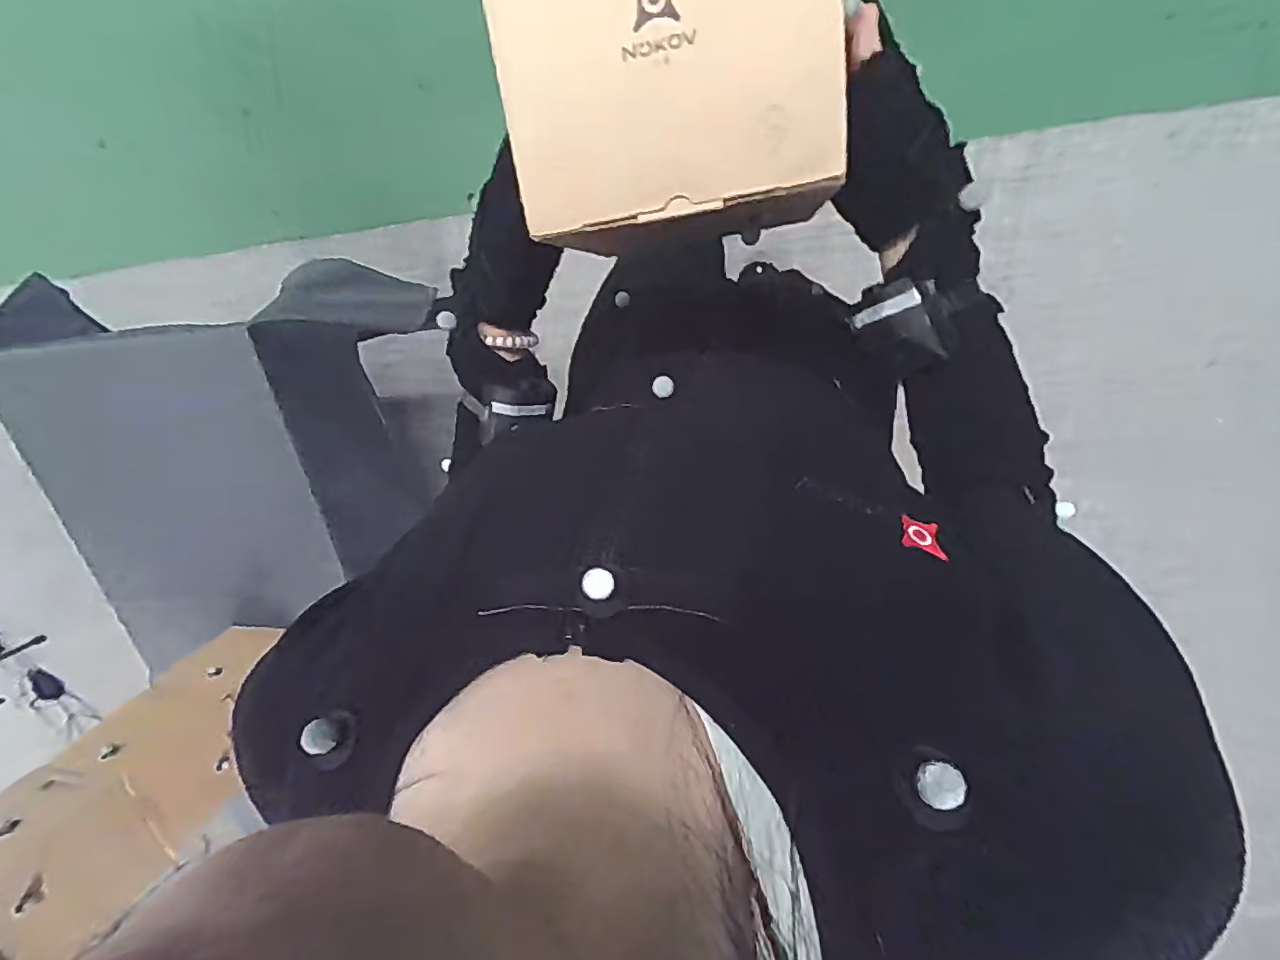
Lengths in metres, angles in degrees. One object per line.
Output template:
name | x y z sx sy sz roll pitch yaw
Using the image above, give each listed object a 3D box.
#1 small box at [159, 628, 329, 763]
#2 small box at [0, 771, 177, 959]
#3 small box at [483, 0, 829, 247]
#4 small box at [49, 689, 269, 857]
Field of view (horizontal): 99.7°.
small box | -0.725 0.398 1.018 0.179 0.176 0.168 -2 113 15
small box | -0.789 0.524 0.724 0.168 0.176 0.179 0 113 13
small box | 0.020 -0.249 0.334 0.168 0.176 0.179 -5 109 12
small box | -0.758 0.461 0.873 0.179 0.176 0.168 -2 113 13
